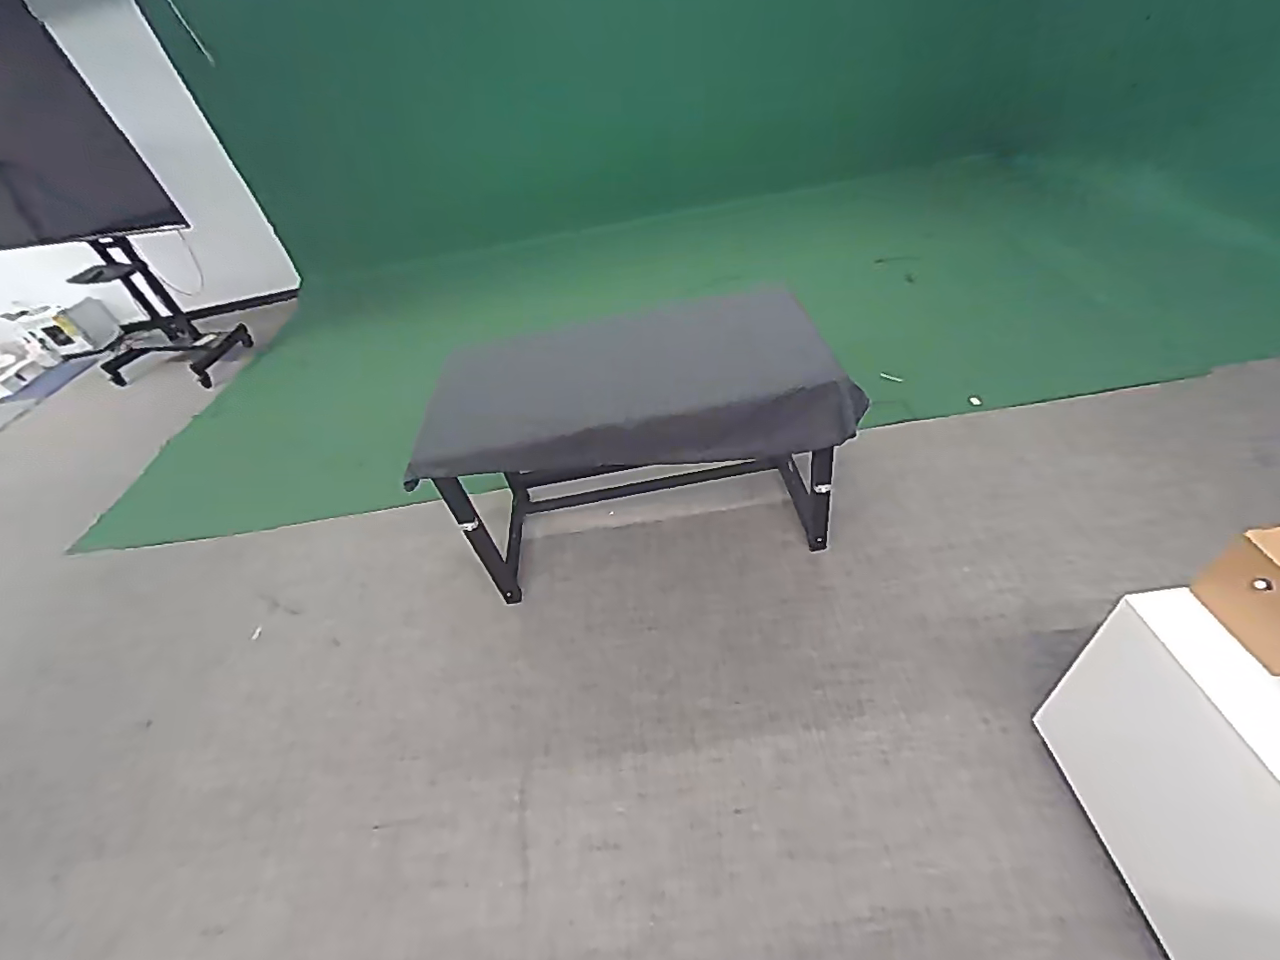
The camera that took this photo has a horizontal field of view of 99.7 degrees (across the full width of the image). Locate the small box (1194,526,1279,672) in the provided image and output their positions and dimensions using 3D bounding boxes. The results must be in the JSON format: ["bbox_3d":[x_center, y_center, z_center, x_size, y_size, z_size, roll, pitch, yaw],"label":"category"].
[{"bbox_3d":[1.075,0.187,0.870,0.168,0.176,0.179,-11,44,4],"label":"small box"}]
